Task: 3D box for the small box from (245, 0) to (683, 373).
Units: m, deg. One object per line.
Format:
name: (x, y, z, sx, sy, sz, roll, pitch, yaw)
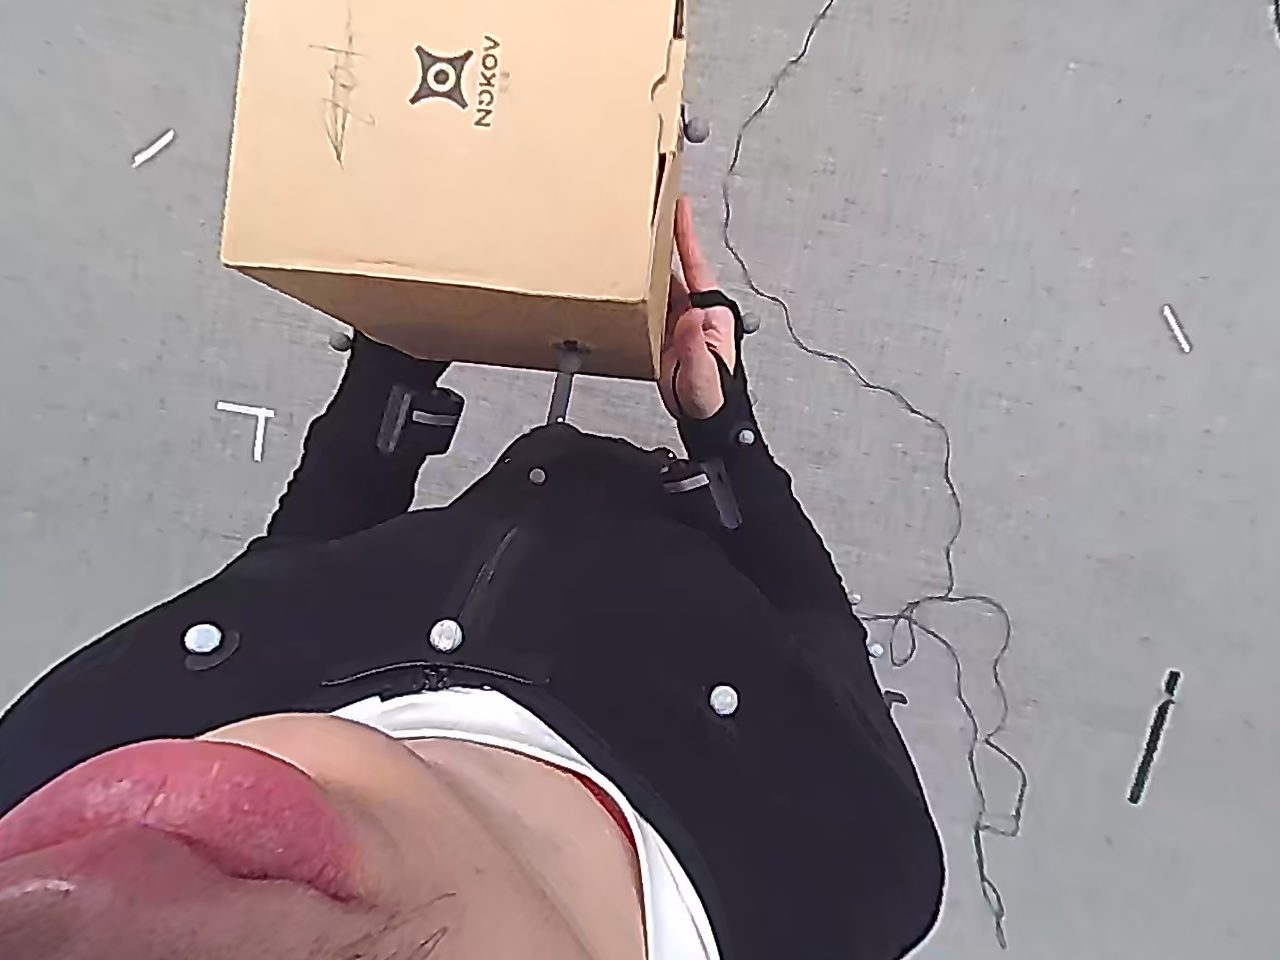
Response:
small box: (-0.071, -0.161, 0.306, 0.179, 0.176, 0.168, 5, 89, 3)
